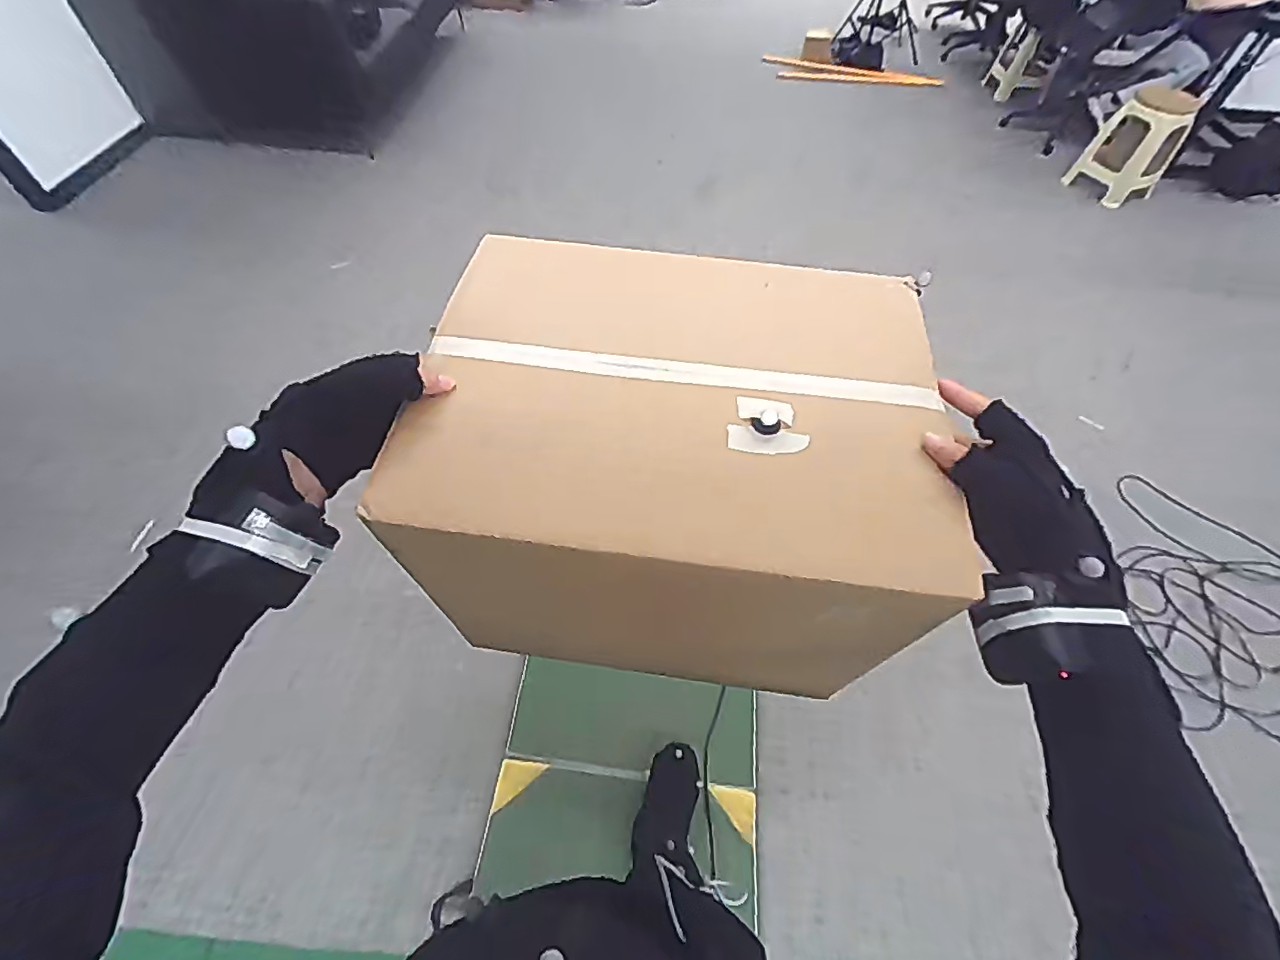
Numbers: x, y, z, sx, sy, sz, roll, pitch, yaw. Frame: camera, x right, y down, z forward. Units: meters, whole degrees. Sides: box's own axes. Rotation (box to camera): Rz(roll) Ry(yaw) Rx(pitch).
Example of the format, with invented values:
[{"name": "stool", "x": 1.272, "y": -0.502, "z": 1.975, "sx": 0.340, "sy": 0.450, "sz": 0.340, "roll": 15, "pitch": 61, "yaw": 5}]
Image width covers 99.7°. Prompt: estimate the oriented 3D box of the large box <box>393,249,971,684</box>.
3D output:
[{"name": "large box", "x": 0.034, "y": 0.001, "z": 0.568, "sx": 0.408, "sy": 0.320, "sz": 0.320, "roll": 7, "pitch": 58, "yaw": 2}]
